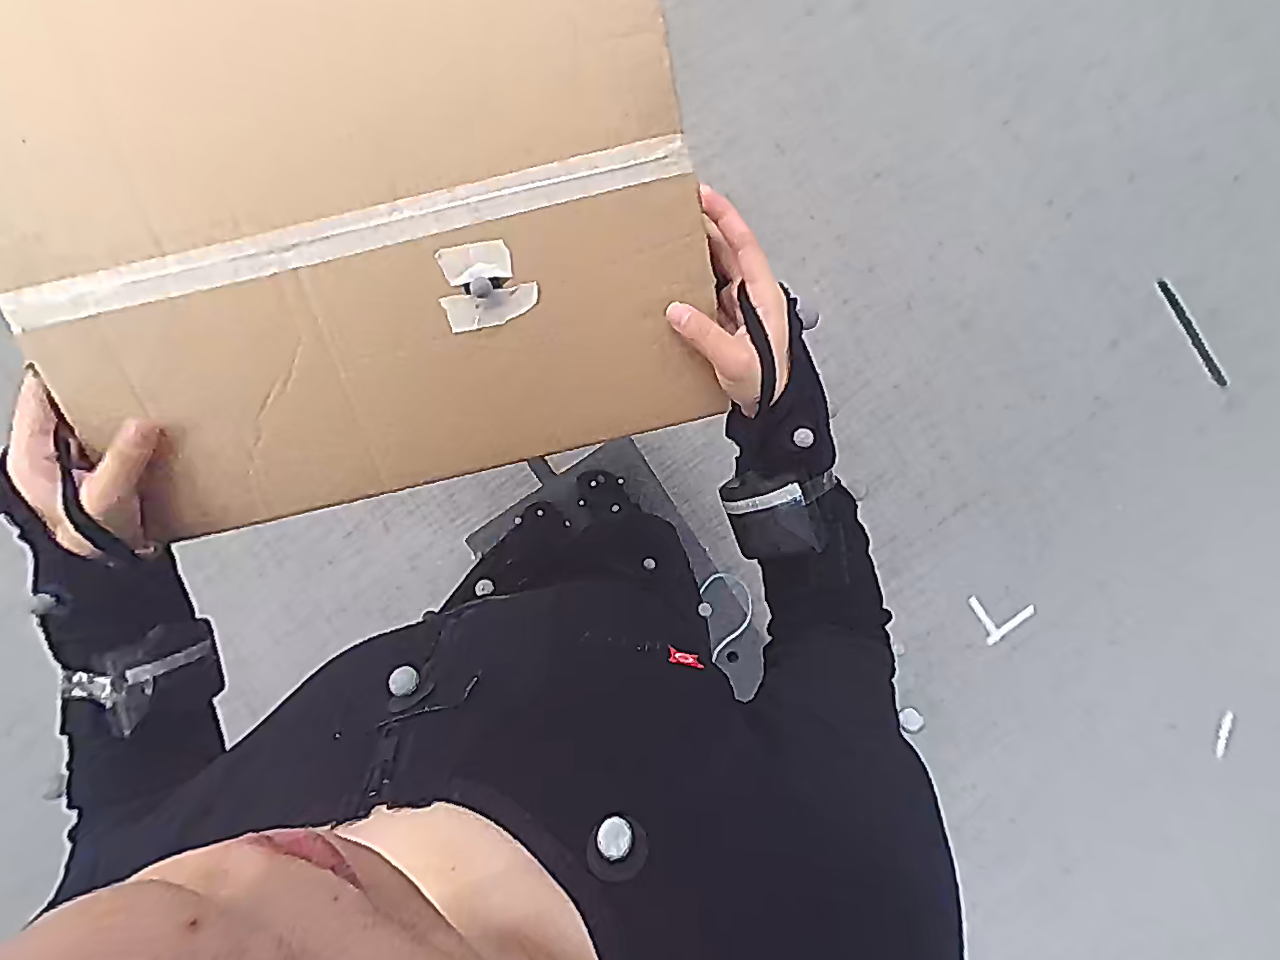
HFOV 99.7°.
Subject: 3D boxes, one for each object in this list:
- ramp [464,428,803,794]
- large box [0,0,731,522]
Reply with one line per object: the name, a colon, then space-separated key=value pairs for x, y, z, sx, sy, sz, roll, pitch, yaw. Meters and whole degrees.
ramp: x=0.026 y=0.395 z=1.474 sx=0.509 sy=0.206 sz=0.991 roll=-36 pitch=95 yaw=-2
large box: x=-0.174 y=-0.199 z=0.466 sx=0.408 sy=0.320 sz=0.320 roll=-13 pitch=109 yaw=-1
